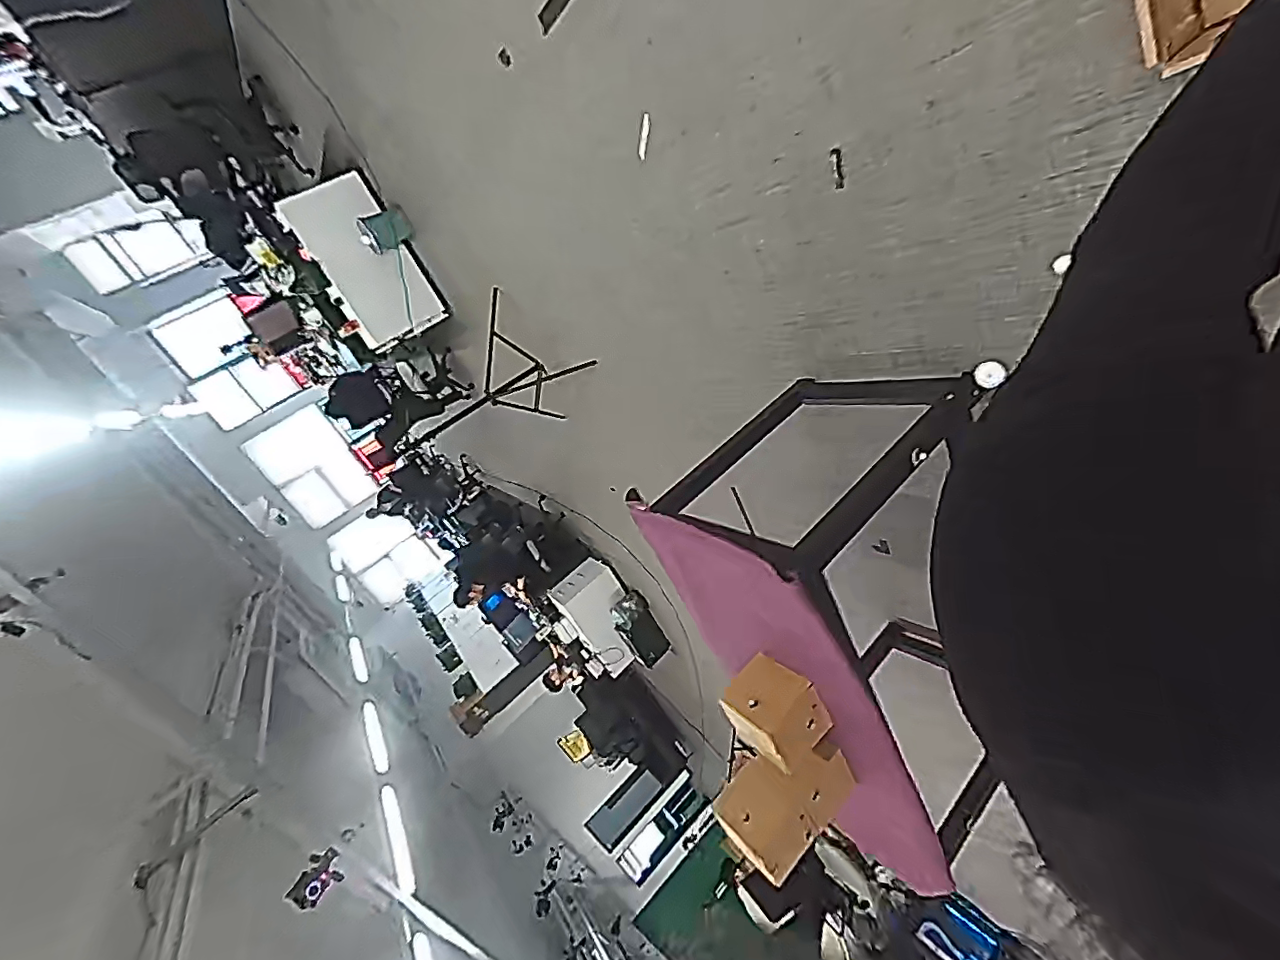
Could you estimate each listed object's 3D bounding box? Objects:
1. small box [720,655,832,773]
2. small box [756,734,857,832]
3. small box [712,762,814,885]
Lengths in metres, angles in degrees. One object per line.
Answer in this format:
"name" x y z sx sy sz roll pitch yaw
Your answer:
"small box" 0.334 0.563 1.327 0.179 0.176 0.168 17 141 57
"small box" 0.450 0.785 1.455 0.168 0.176 0.179 17 141 57
"small box" 0.327 0.880 1.403 0.179 0.176 0.168 15 139 58
